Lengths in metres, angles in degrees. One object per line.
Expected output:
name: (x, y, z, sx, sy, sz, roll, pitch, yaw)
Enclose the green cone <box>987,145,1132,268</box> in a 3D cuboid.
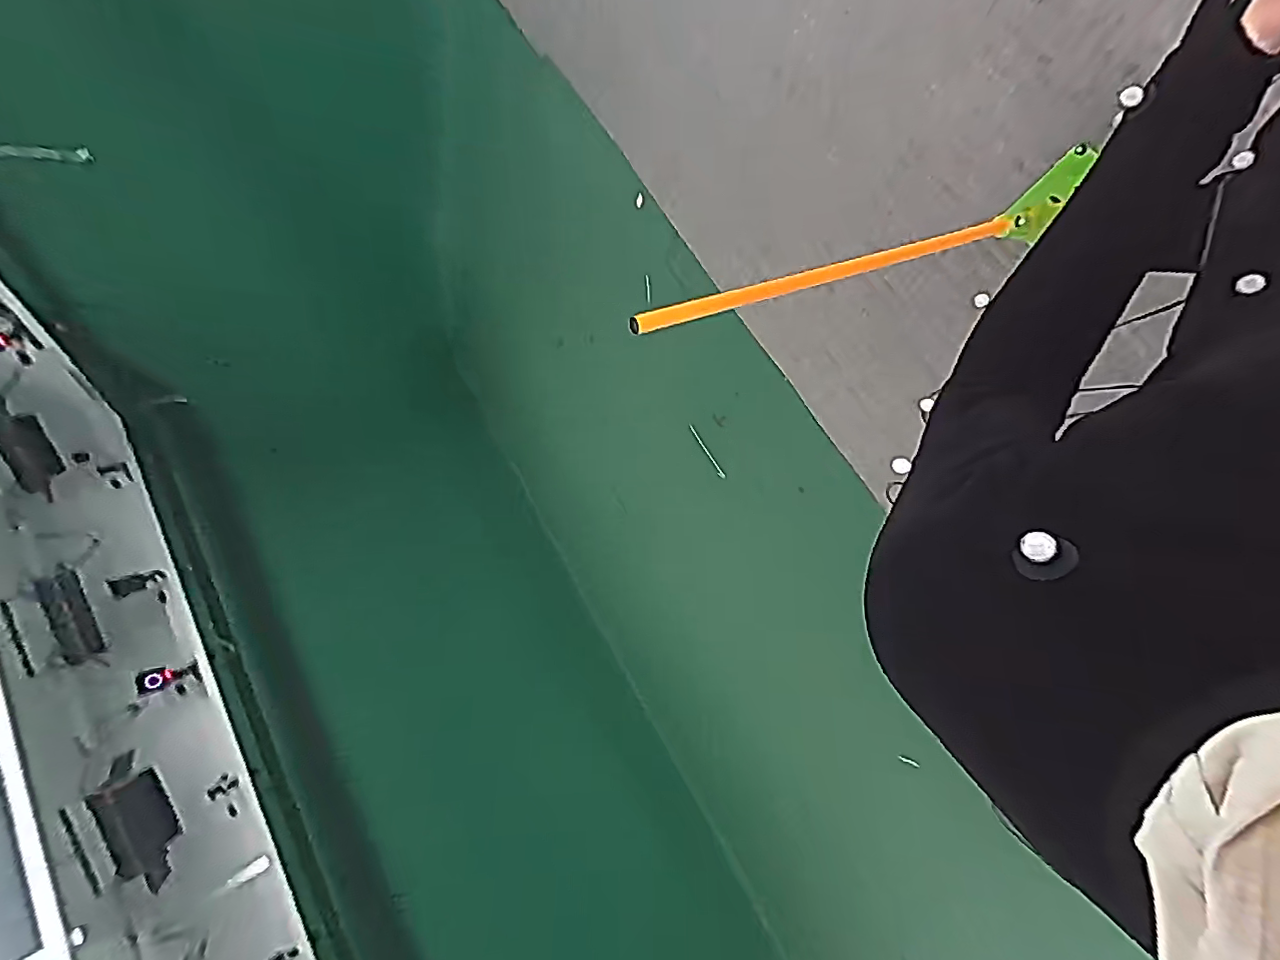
green cone: (0.850, -0.571, 1.177, 0.202, 0.368, 0.200, 57, 149, 12)
